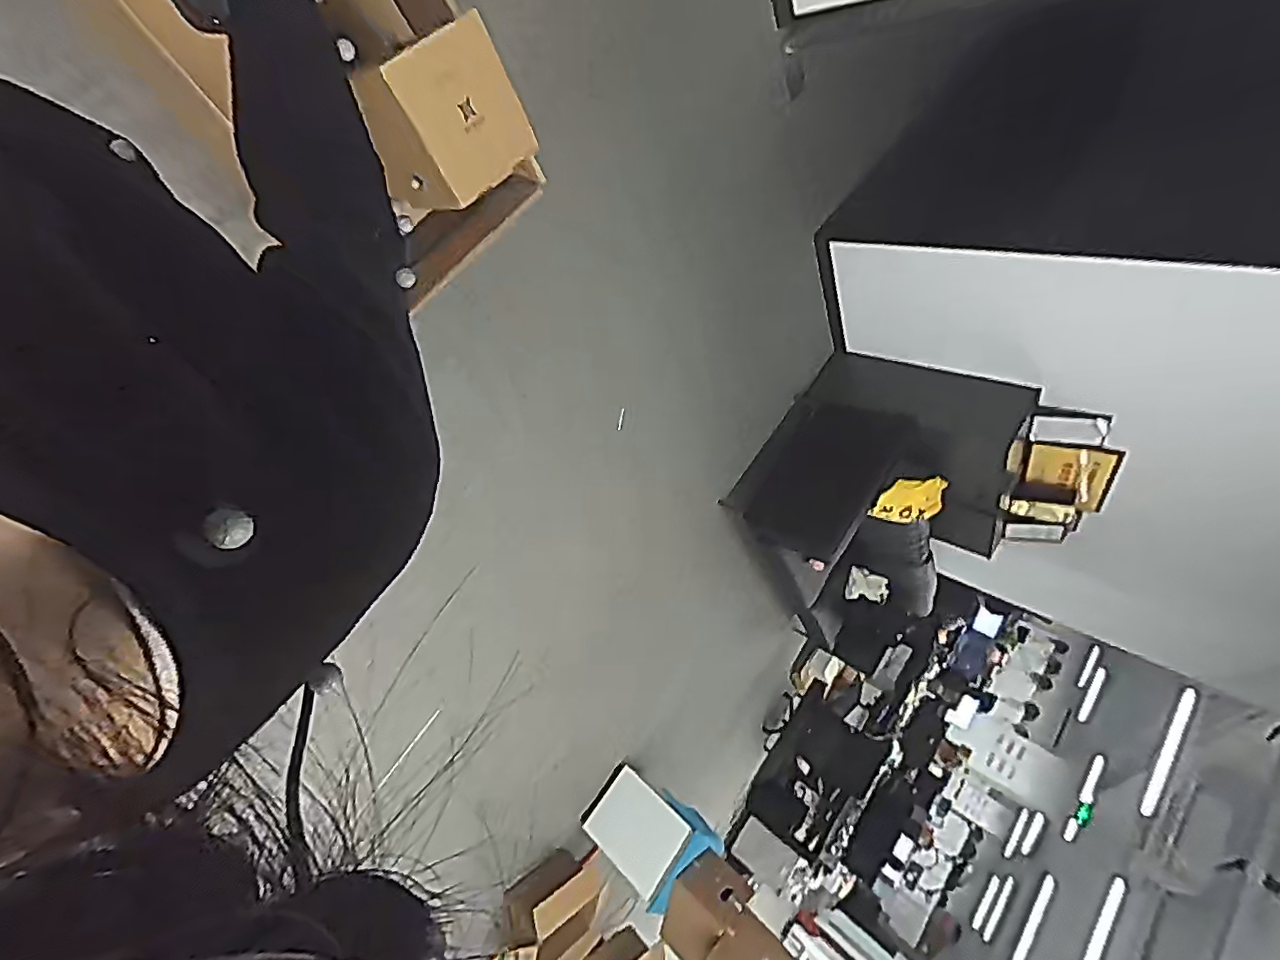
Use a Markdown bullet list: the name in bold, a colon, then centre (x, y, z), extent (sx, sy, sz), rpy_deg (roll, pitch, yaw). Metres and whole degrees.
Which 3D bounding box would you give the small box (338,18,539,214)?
- **small box**: centre (-0.285, -0.510, 0.774), extent (0.168, 0.176, 0.179), rpy_deg (-48, 137, -19)
